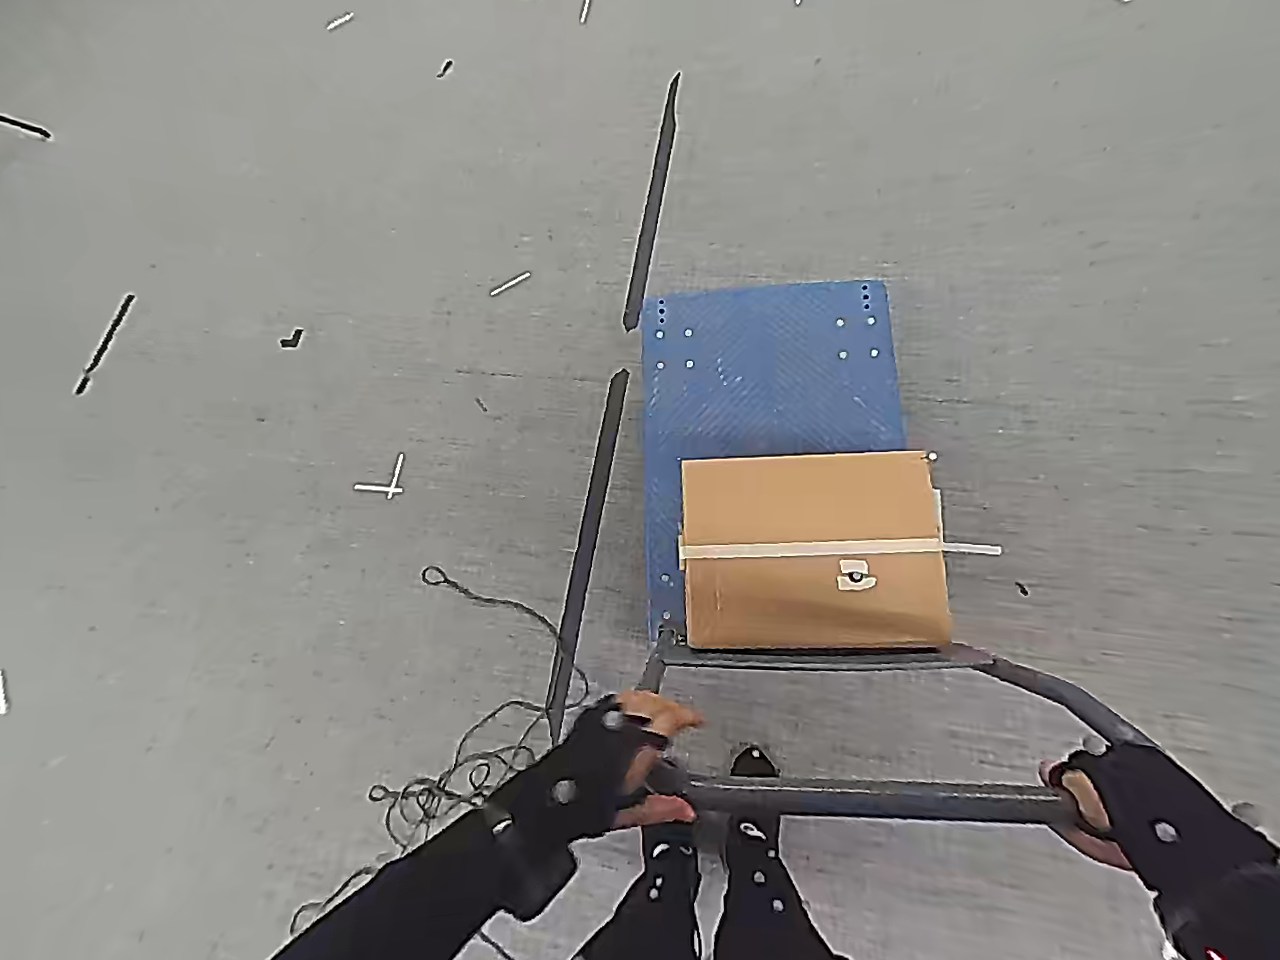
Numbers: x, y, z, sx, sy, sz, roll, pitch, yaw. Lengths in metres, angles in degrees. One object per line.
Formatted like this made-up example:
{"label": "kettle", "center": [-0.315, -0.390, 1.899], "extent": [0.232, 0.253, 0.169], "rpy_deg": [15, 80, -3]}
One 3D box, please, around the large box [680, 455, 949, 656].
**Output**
{"label": "large box", "center": [0.285, 0.150, 1.017], "extent": [0.408, 0.320, 0.320], "rpy_deg": [-2, 78, 5]}
